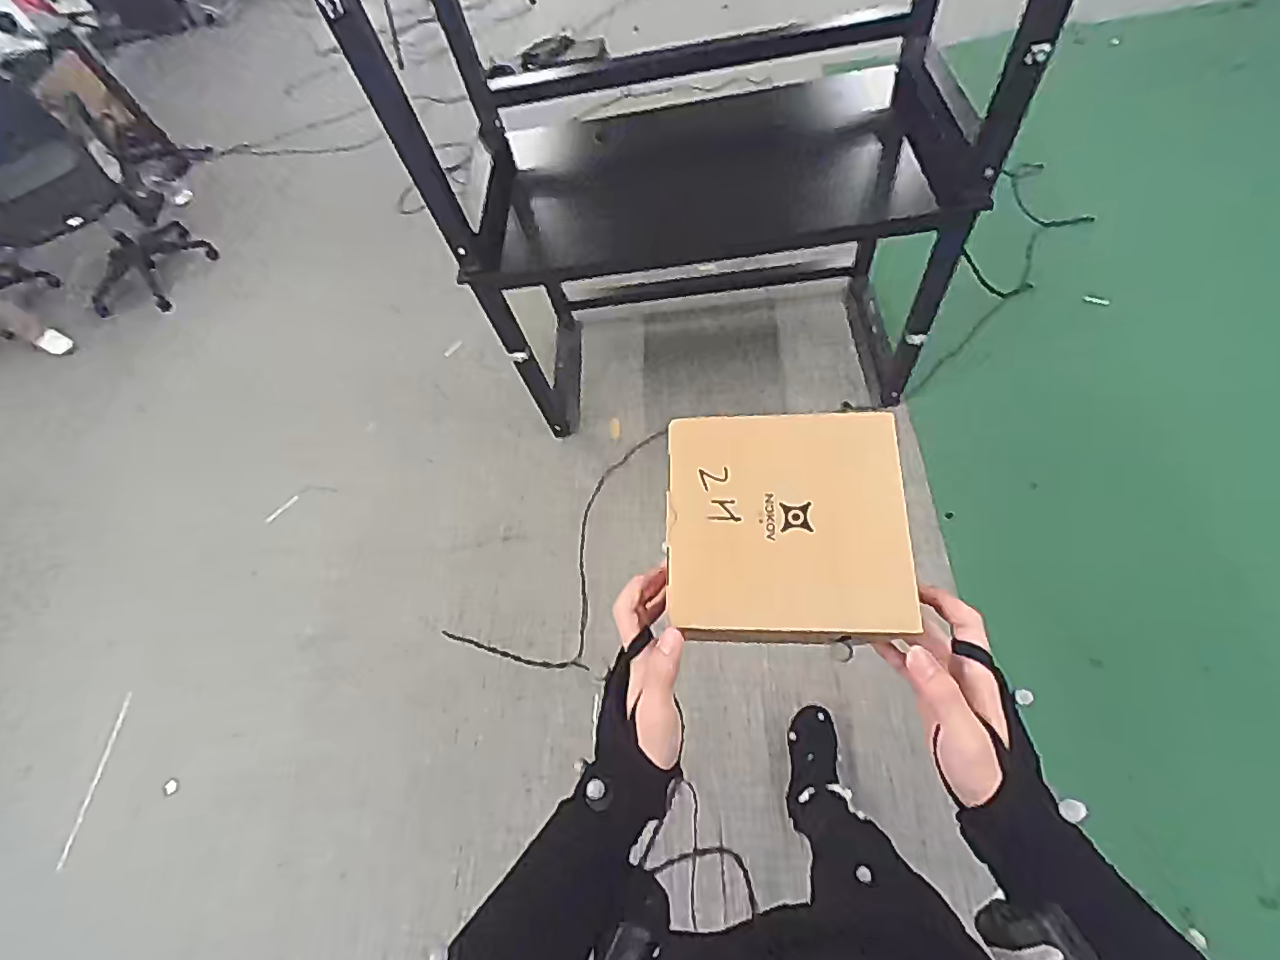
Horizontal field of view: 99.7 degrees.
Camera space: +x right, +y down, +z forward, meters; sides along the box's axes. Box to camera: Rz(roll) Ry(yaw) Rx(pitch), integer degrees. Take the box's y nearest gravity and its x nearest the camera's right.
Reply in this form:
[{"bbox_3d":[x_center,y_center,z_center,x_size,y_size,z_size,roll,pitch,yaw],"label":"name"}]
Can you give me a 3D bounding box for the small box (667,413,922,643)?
[{"bbox_3d":[0.119,0.052,0.476,0.179,0.176,0.168,-1,70,8],"label":"small box"}]
